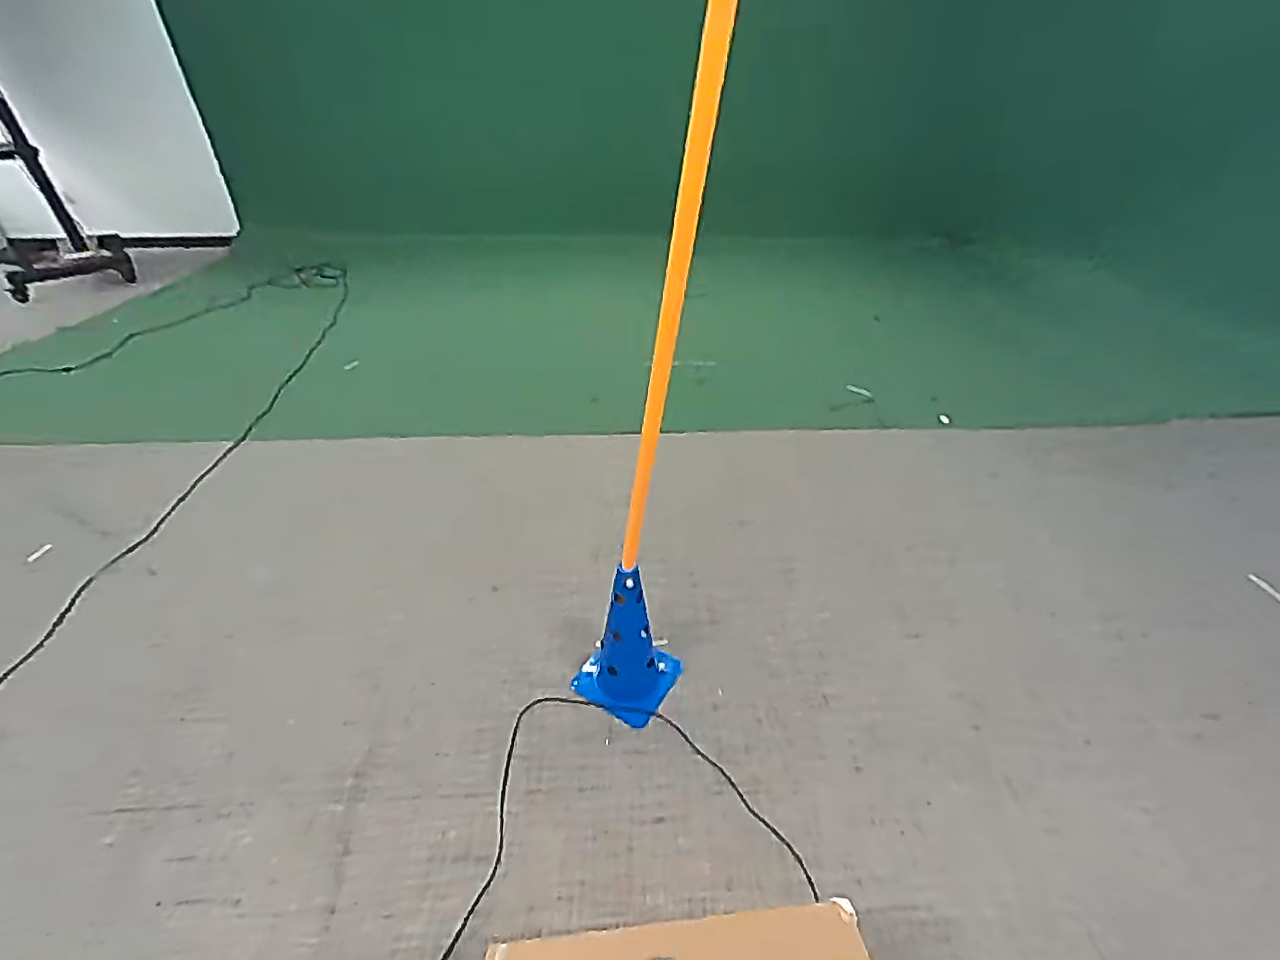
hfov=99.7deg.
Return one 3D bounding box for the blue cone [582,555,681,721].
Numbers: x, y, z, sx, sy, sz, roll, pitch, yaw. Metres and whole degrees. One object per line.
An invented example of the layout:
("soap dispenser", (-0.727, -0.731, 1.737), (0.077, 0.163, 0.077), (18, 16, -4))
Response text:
("blue cone", (-0.015, 0.306, 1.141), (0.192, 0.380, 0.193), (20, 39, 23))
